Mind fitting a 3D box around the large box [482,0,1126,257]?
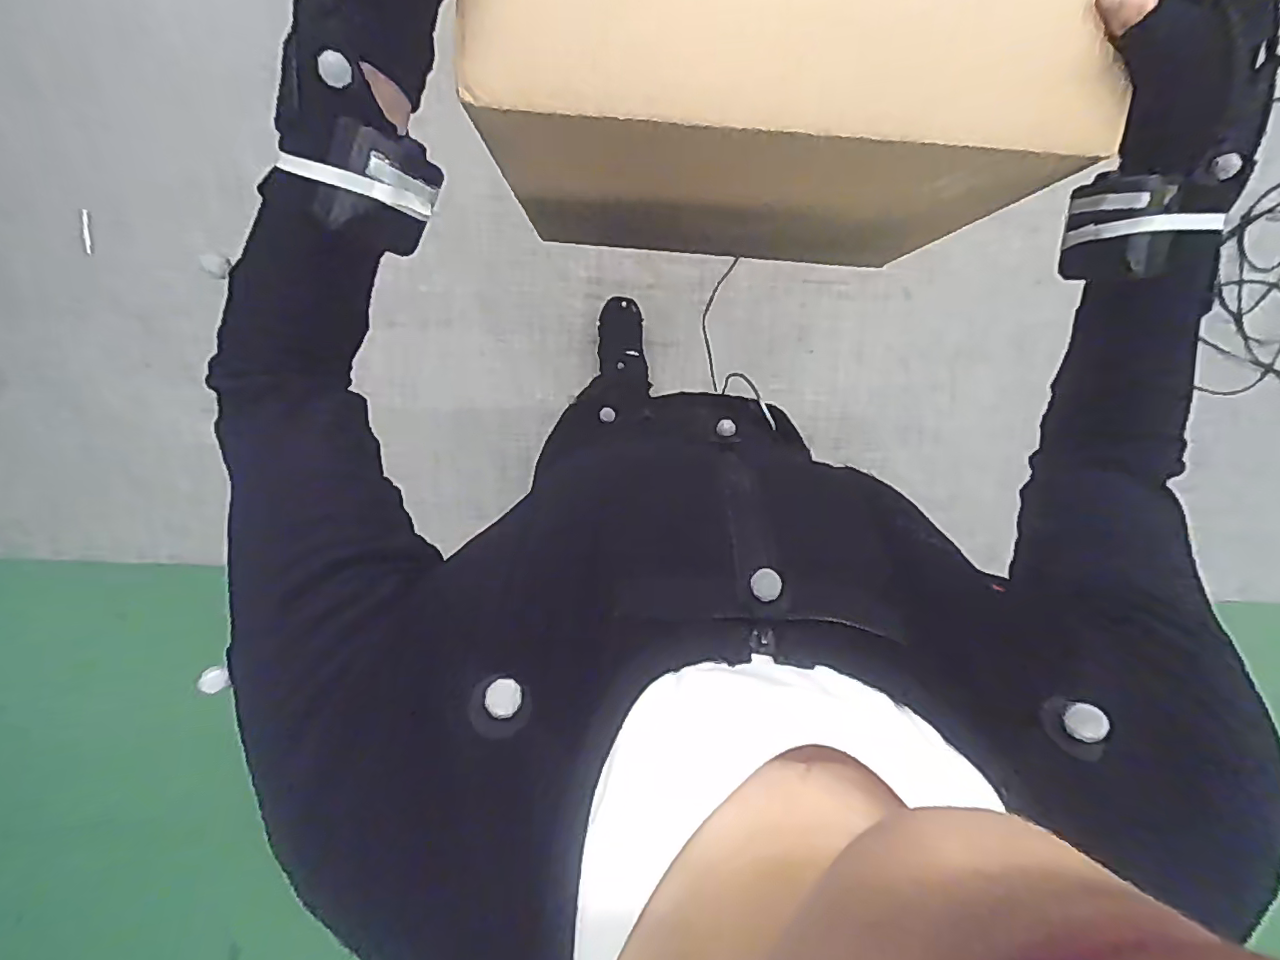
[{"bbox_3d":[0.099,-0.397,0.463,0.408,0.320,0.320,3,100,-3],"label":"large box"}]
